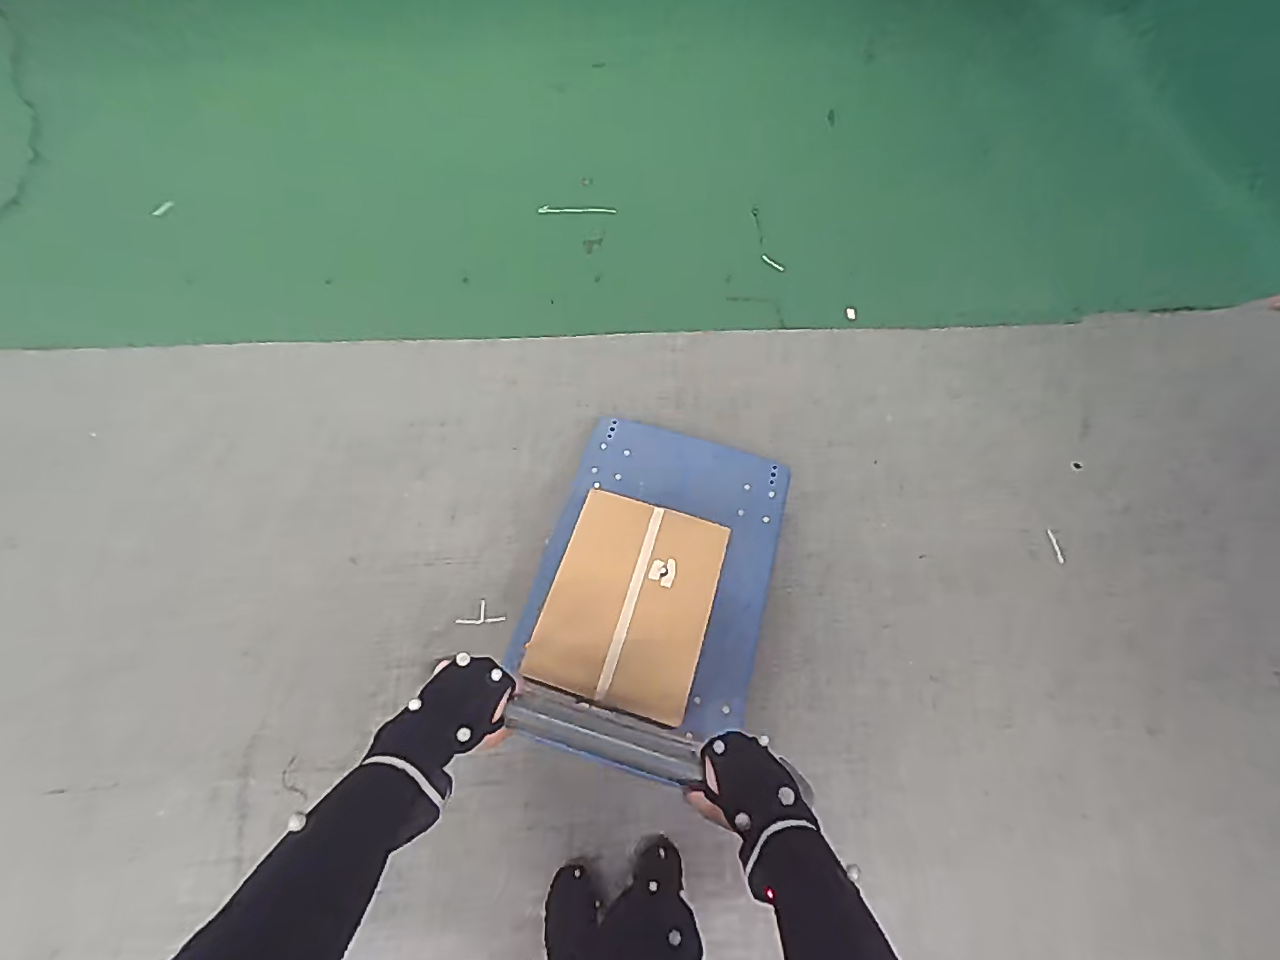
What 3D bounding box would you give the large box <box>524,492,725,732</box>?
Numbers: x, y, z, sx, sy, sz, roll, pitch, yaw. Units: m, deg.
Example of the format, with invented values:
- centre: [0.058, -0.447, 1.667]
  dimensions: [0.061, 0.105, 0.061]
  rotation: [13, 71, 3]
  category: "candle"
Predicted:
- centre: [-0.024, 0.302, 1.203]
  dimensions: [0.320, 0.320, 0.408]
  rotation: [17, 63, 5]
  category: "large box"
